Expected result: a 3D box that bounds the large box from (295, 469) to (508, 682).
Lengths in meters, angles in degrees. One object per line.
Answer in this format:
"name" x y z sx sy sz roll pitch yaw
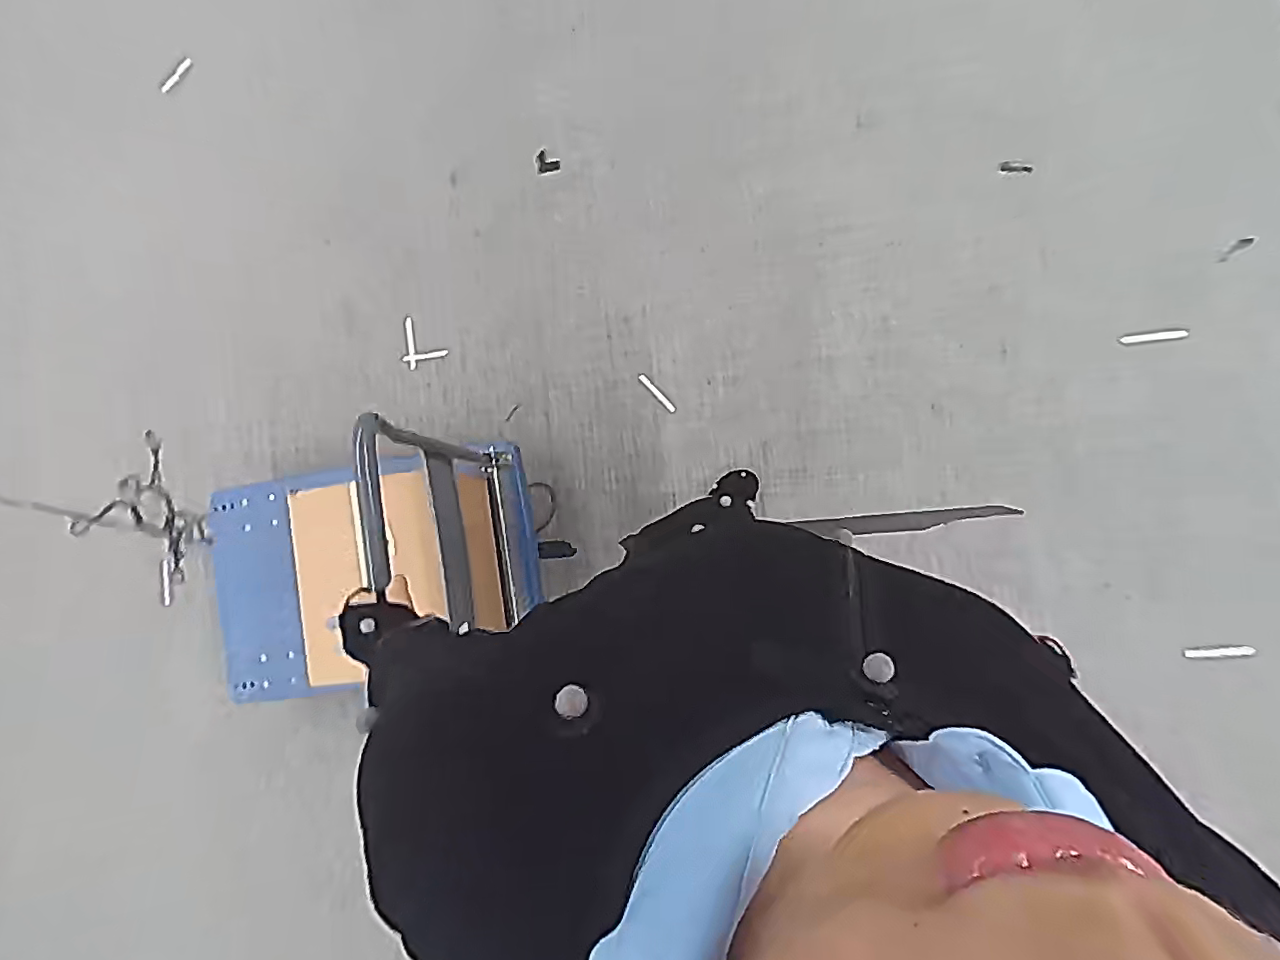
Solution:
"large box" -0.528 0.206 1.256 0.320 0.320 0.408 -9 86 5
